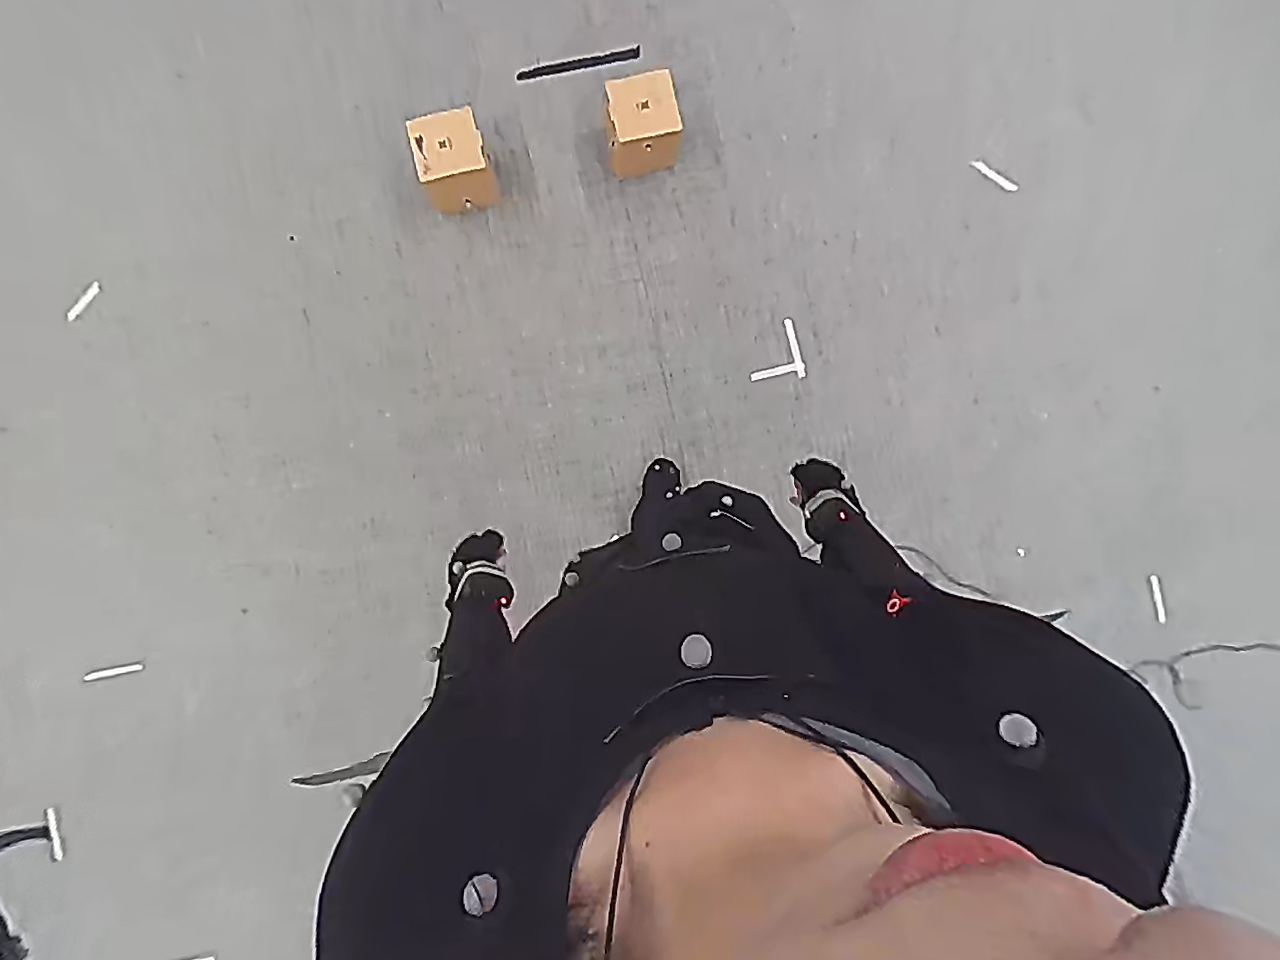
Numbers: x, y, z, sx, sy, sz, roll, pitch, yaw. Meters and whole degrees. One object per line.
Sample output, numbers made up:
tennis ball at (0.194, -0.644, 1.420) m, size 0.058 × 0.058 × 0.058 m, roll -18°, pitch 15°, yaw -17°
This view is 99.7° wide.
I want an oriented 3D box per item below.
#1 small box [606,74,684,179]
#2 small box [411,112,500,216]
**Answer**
small box at (0.011, -0.959, 1.481) m, size 0.179 × 0.176 × 0.168 m, roll -13°, pitch 90°, yaw -3°
small box at (-0.488, -0.846, 1.461) m, size 0.179 × 0.176 × 0.168 m, roll -13°, pitch 89°, yaw -2°
